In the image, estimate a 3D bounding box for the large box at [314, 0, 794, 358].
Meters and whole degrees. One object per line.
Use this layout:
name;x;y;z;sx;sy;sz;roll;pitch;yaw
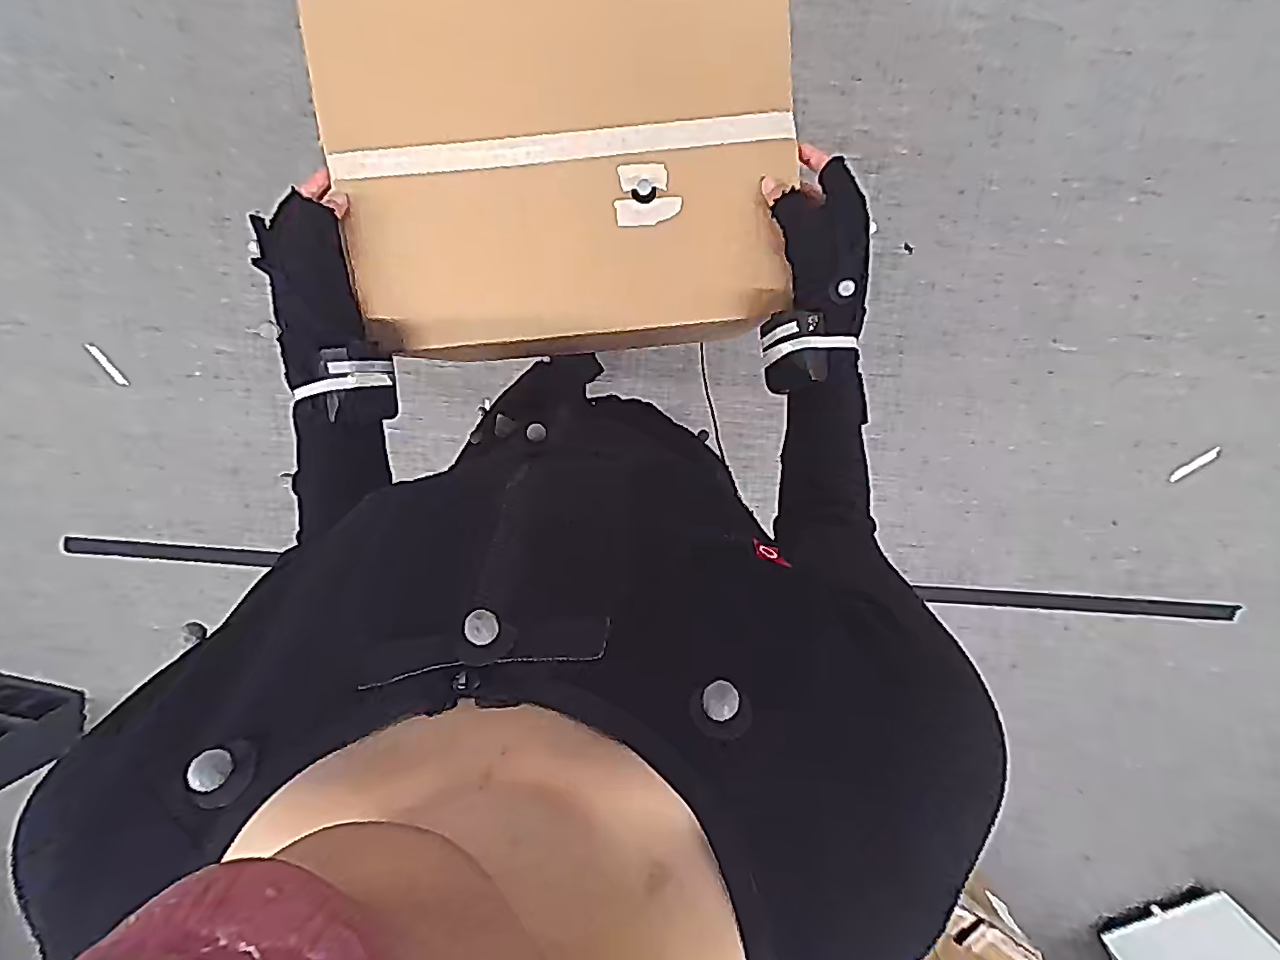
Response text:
large box;-0.073;-0.326;0.629;0.408;0.320;0.320;-6;101;-1
